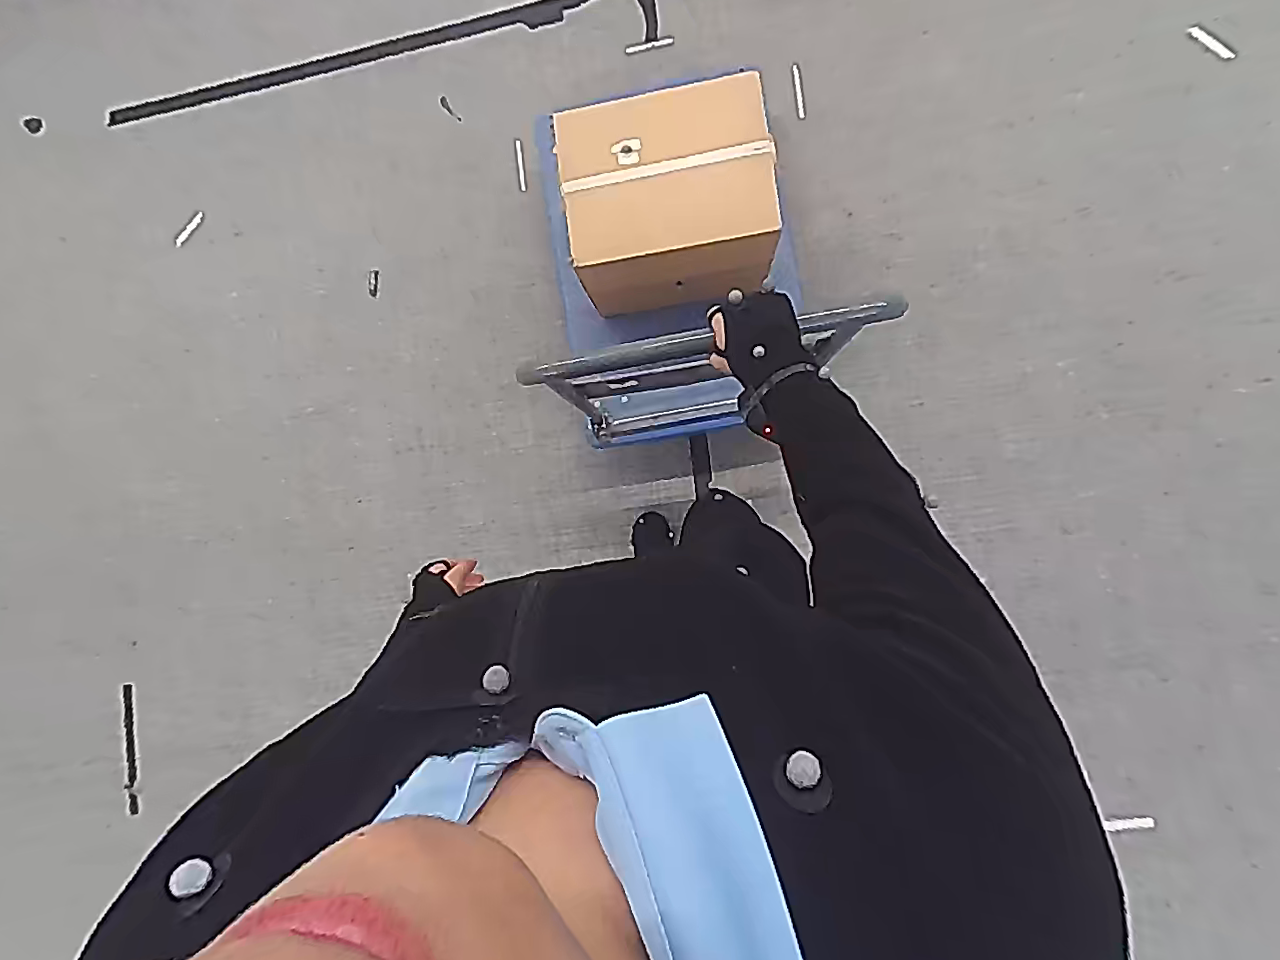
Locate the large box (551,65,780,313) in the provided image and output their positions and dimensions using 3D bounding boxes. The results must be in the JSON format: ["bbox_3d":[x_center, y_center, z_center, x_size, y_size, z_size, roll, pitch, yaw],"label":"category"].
[{"bbox_3d":[0.062,-0.590,1.169,0.408,0.320,0.320,-8,87,7],"label":"large box"}]
